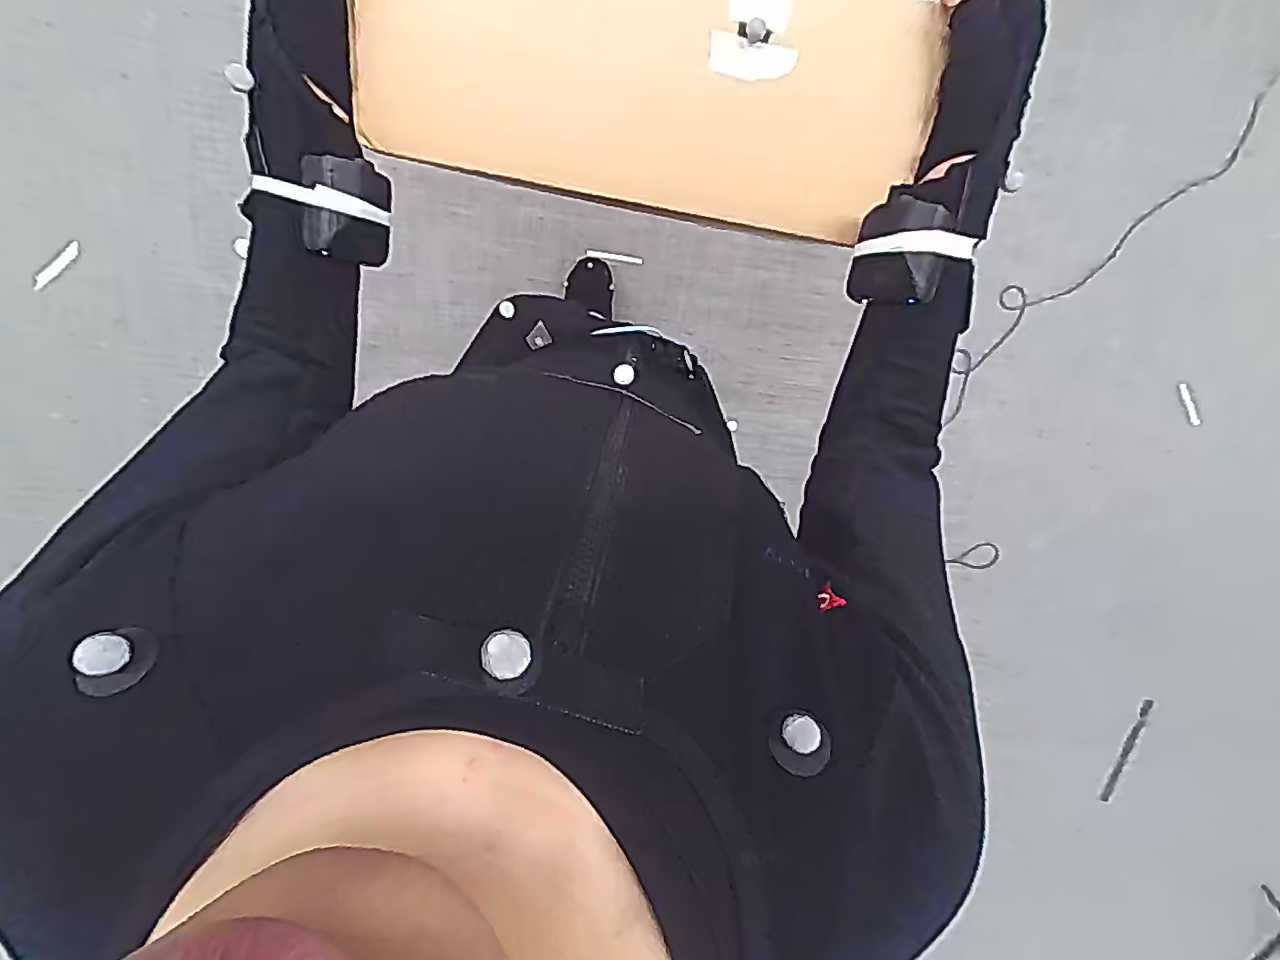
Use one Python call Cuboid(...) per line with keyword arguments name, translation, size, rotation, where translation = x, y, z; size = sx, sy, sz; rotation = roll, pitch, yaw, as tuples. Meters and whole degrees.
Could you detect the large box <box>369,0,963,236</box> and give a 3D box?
Cuboid(name="large box", translation=(0.022, -0.419, 0.482), size=(0.408, 0.320, 0.320), rotation=(9, 117, -4))
